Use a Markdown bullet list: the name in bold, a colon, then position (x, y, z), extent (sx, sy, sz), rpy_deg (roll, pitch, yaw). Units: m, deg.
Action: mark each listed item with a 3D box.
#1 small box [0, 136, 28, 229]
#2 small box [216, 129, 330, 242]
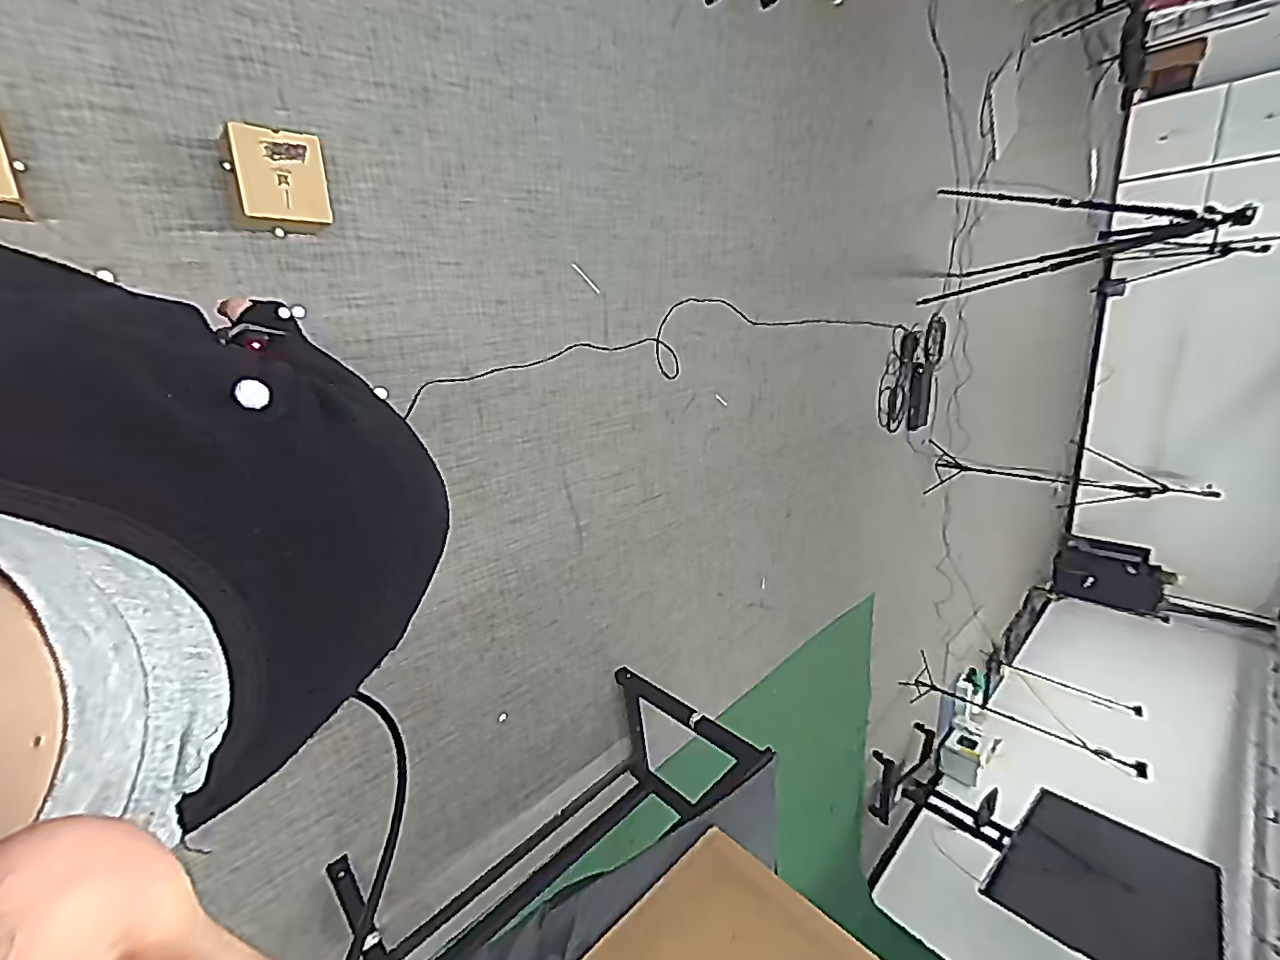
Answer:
- **small box**: position (-1.159, -0.522, 0.887), extent (0.168, 0.176, 0.179), rpy_deg (-17, 109, -40)
- **small box**: position (-0.809, -0.636, 1.191), extent (0.168, 0.176, 0.179), rpy_deg (-16, 110, -39)
